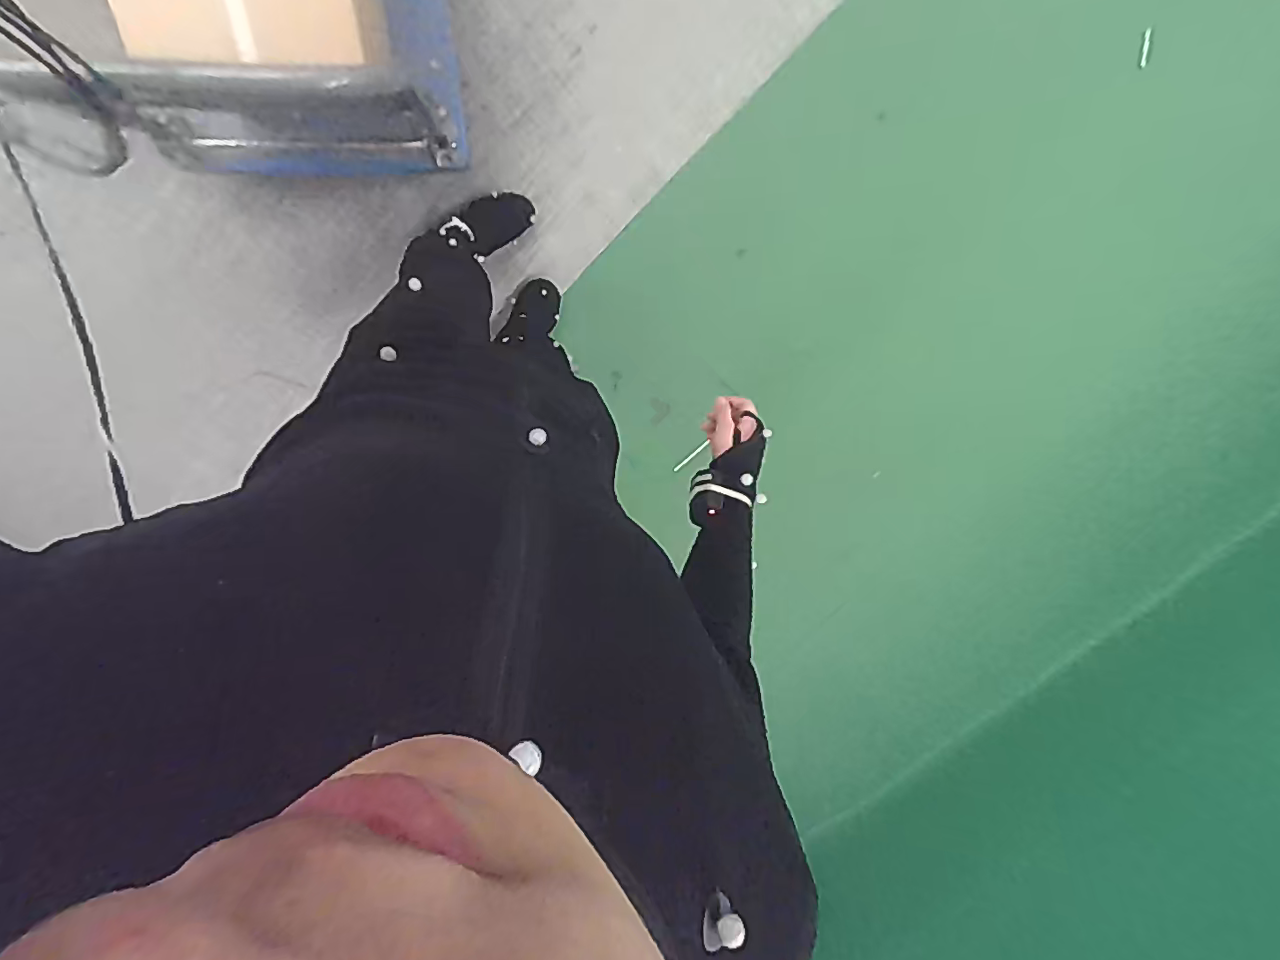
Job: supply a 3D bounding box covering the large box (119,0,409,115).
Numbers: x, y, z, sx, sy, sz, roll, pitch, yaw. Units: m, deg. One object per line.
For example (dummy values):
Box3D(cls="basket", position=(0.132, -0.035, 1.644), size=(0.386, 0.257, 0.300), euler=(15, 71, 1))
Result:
Box3D(cls="large box", position=(-0.586, -0.826, 0.835), size=(0.320, 0.320, 0.408), euler=(-7, 118, -10))
